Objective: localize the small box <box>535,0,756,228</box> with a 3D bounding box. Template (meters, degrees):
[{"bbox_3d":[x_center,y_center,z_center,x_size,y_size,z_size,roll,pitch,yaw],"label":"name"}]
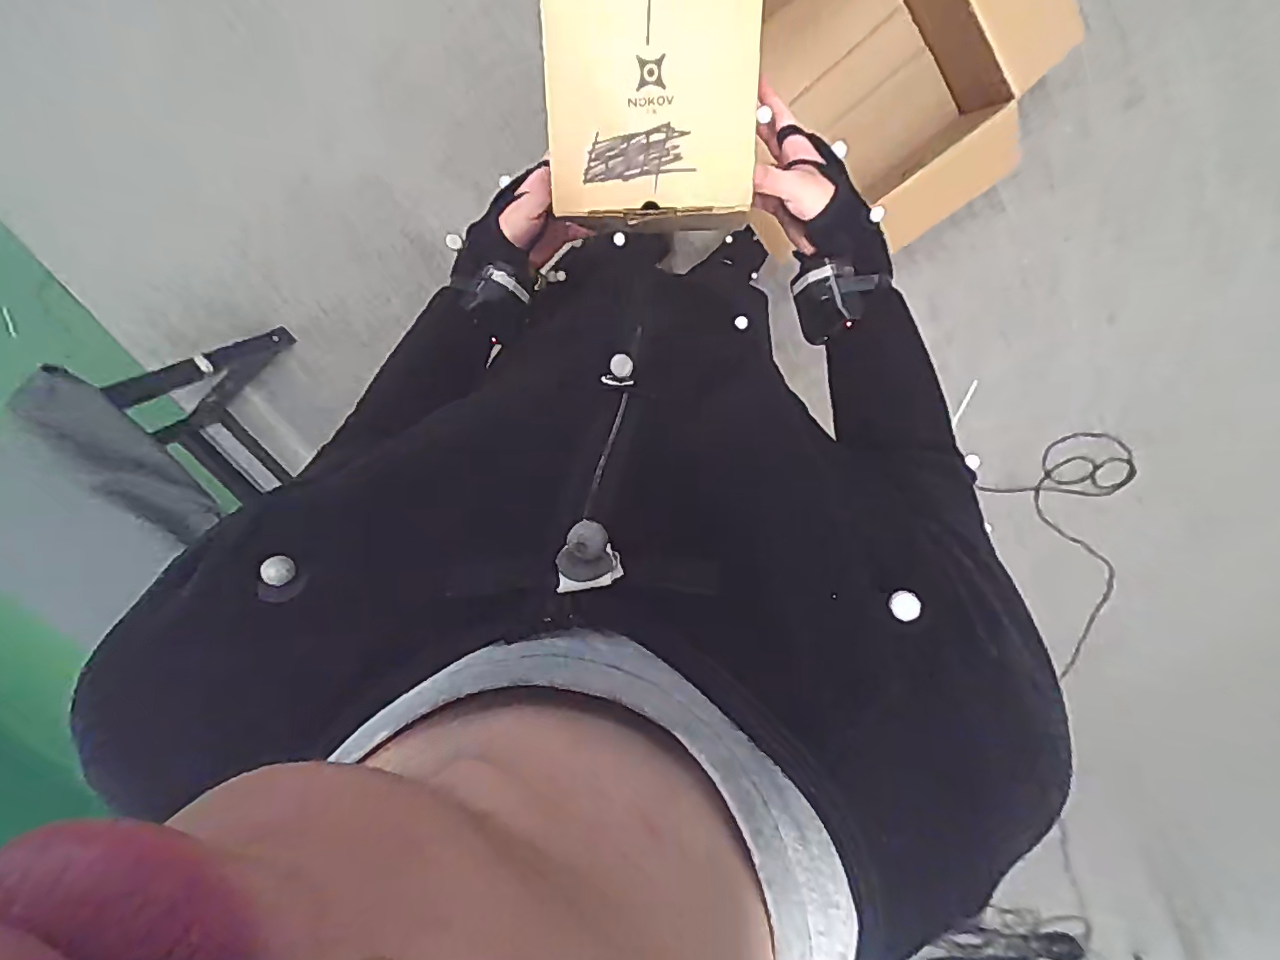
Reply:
[{"bbox_3d":[0.015,-0.327,0.484,0.168,0.176,0.179,2,110,8],"label":"small box"}]
